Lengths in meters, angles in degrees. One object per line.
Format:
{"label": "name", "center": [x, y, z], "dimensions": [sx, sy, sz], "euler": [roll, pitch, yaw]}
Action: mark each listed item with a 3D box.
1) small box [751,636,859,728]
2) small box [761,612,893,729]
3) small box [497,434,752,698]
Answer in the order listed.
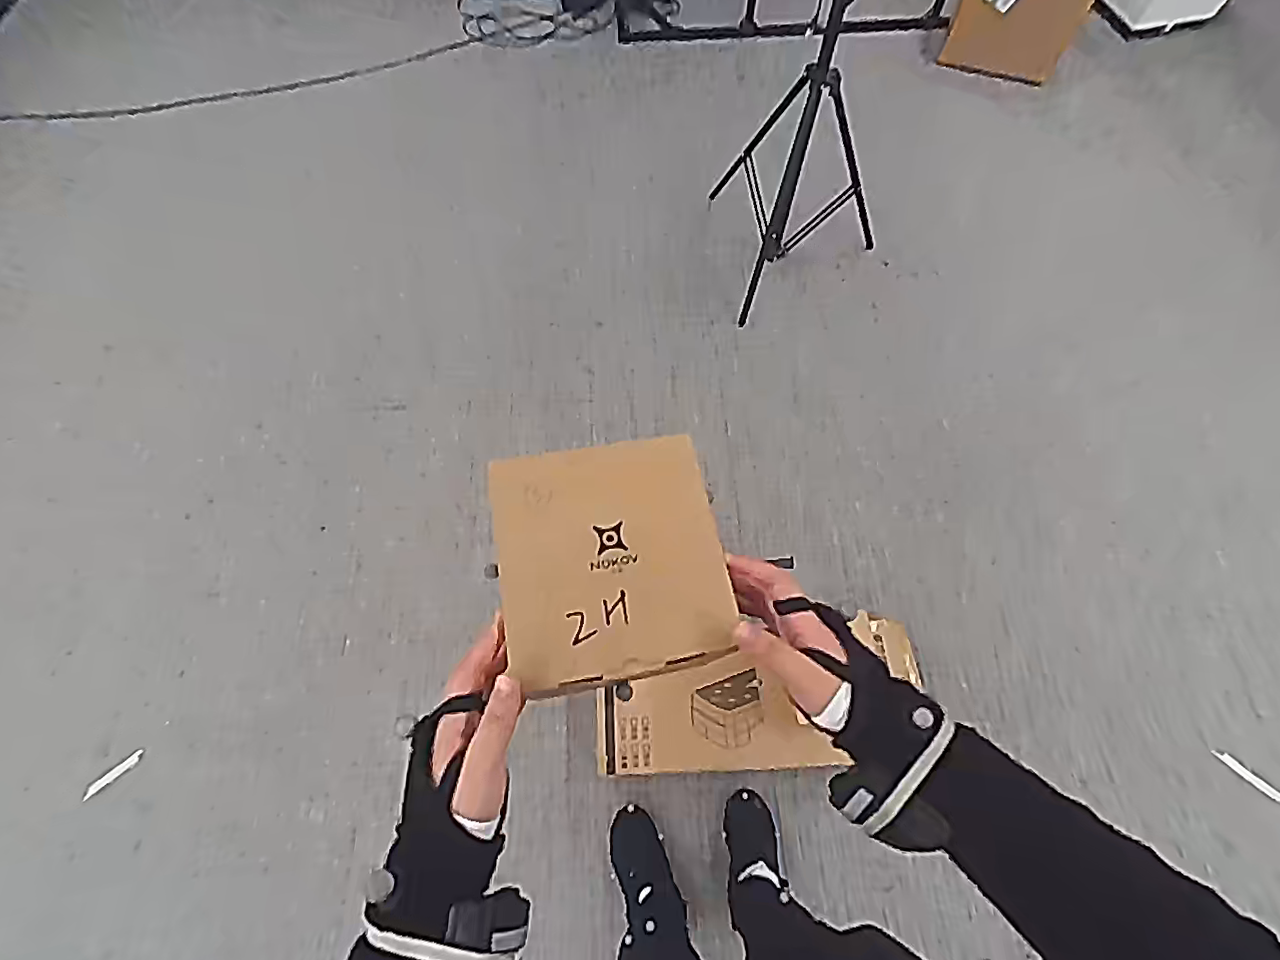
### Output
{"label": "small box", "center": [0.343, 0.427, 1.153], "dimensions": [0.168, 0.176, 0.179], "euler": [-5, 66, -2]}
{"label": "small box", "center": [0.333, 0.358, 1.005], "dimensions": [0.168, 0.176, 0.179], "euler": [-7, 65, -2]}
{"label": "small box", "center": [-0.024, 0.082, 0.465], "dimensions": [0.168, 0.176, 0.179], "euler": [-8, 69, -9]}
